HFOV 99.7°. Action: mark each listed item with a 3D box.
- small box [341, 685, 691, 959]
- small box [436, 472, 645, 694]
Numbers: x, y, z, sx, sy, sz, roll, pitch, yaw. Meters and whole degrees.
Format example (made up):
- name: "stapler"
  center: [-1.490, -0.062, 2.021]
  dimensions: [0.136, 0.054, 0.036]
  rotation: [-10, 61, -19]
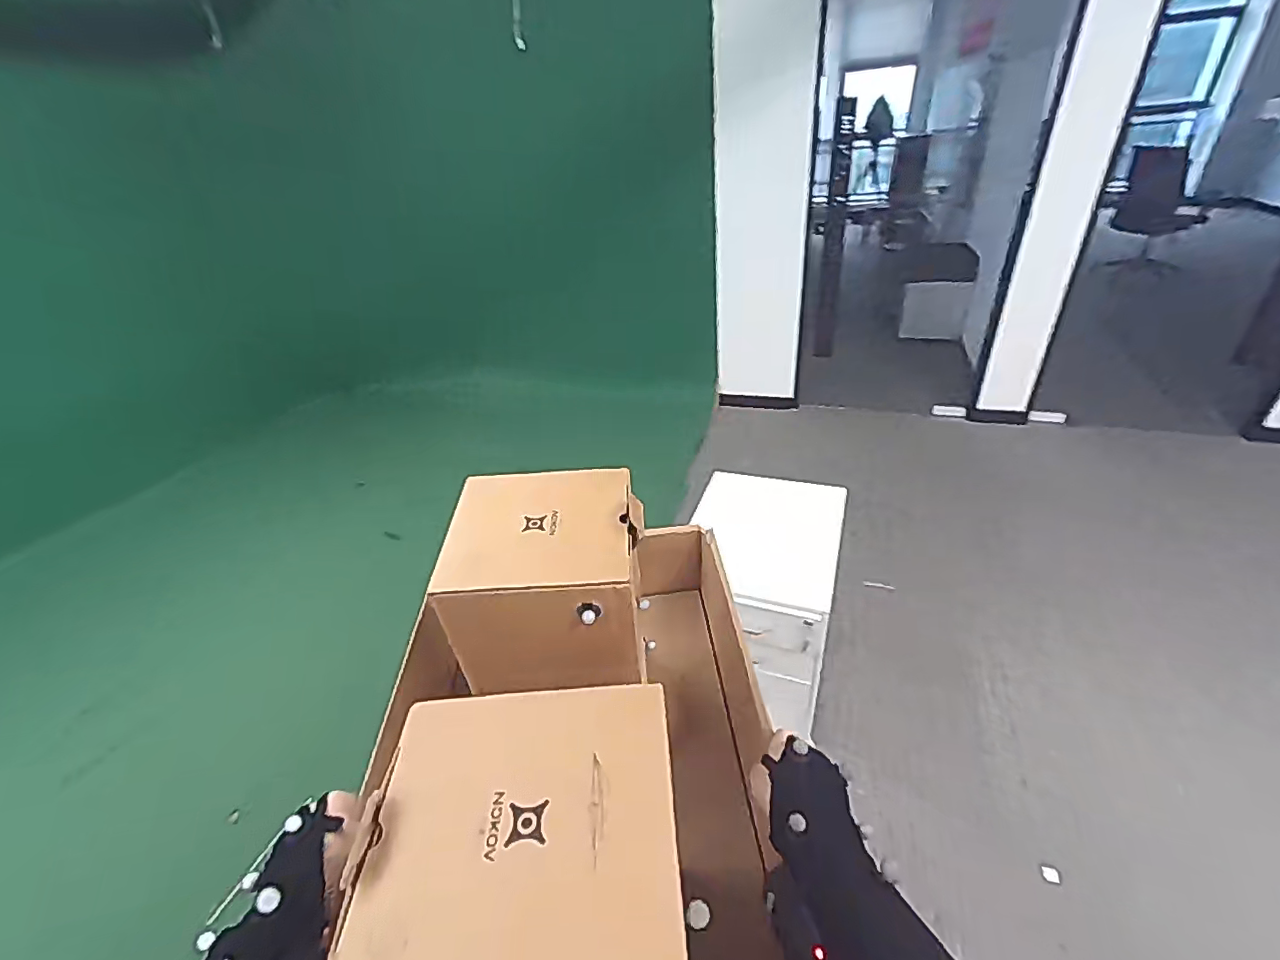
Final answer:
- name: "small box"
  center: [-0.059, 0.262, 0.360]
  dimensions: [0.179, 0.176, 0.168]
  rotation: [-4, 37, 0]
- name: "small box"
  center: [-0.087, 0.109, 0.570]
  dimensions: [0.179, 0.176, 0.168]
  rotation: [-3, 37, 0]
